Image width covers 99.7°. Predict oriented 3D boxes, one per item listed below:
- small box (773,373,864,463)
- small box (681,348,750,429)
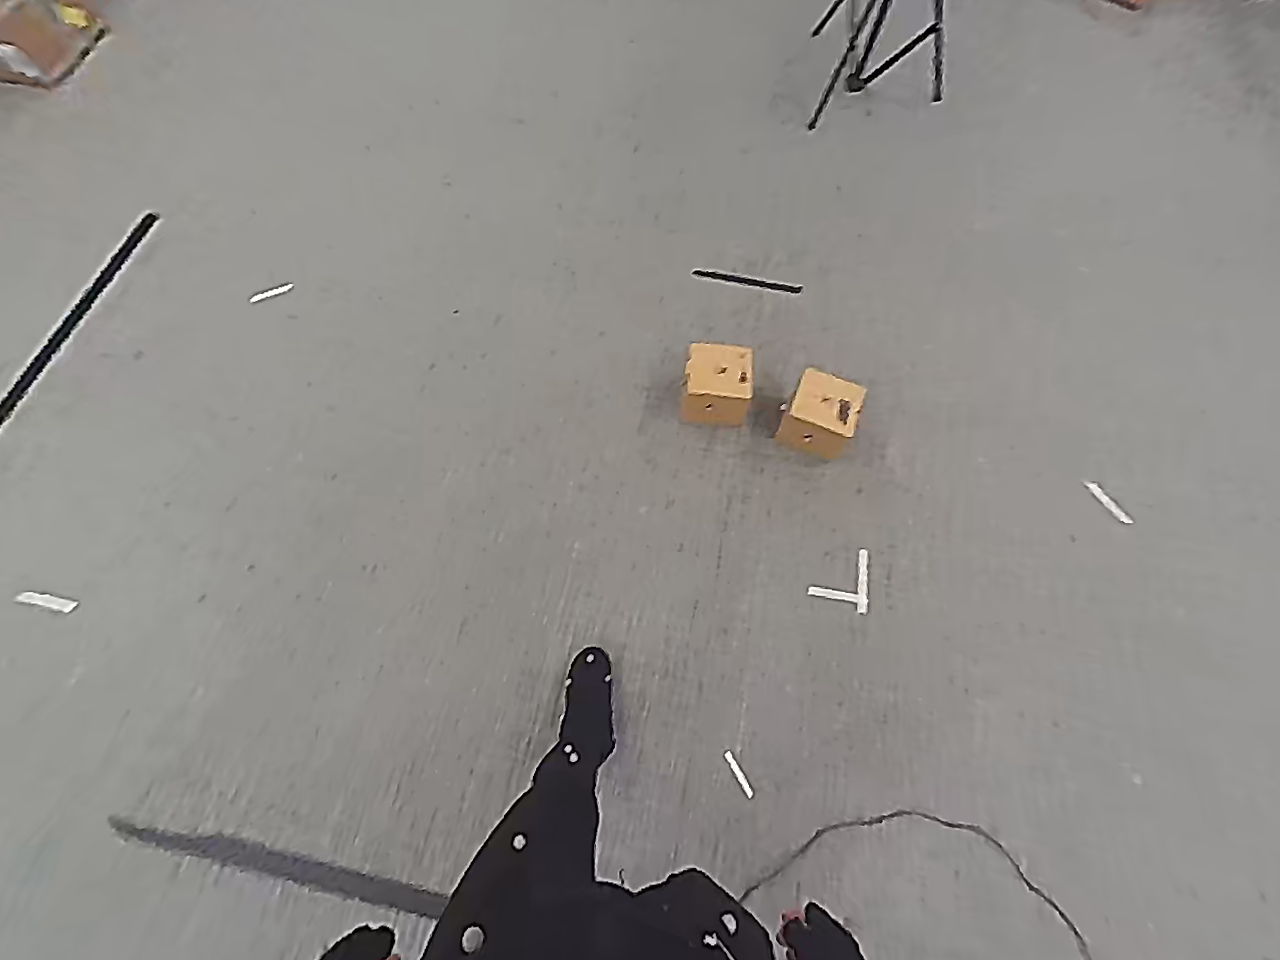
[{"bbox_3d":[0.500,-0.168,1.534,0.179,0.176,0.168,21,68,5],"label":"small box"},{"bbox_3d":[0.214,-0.258,1.558,0.179,0.176,0.168,5,68,0],"label":"small box"}]
